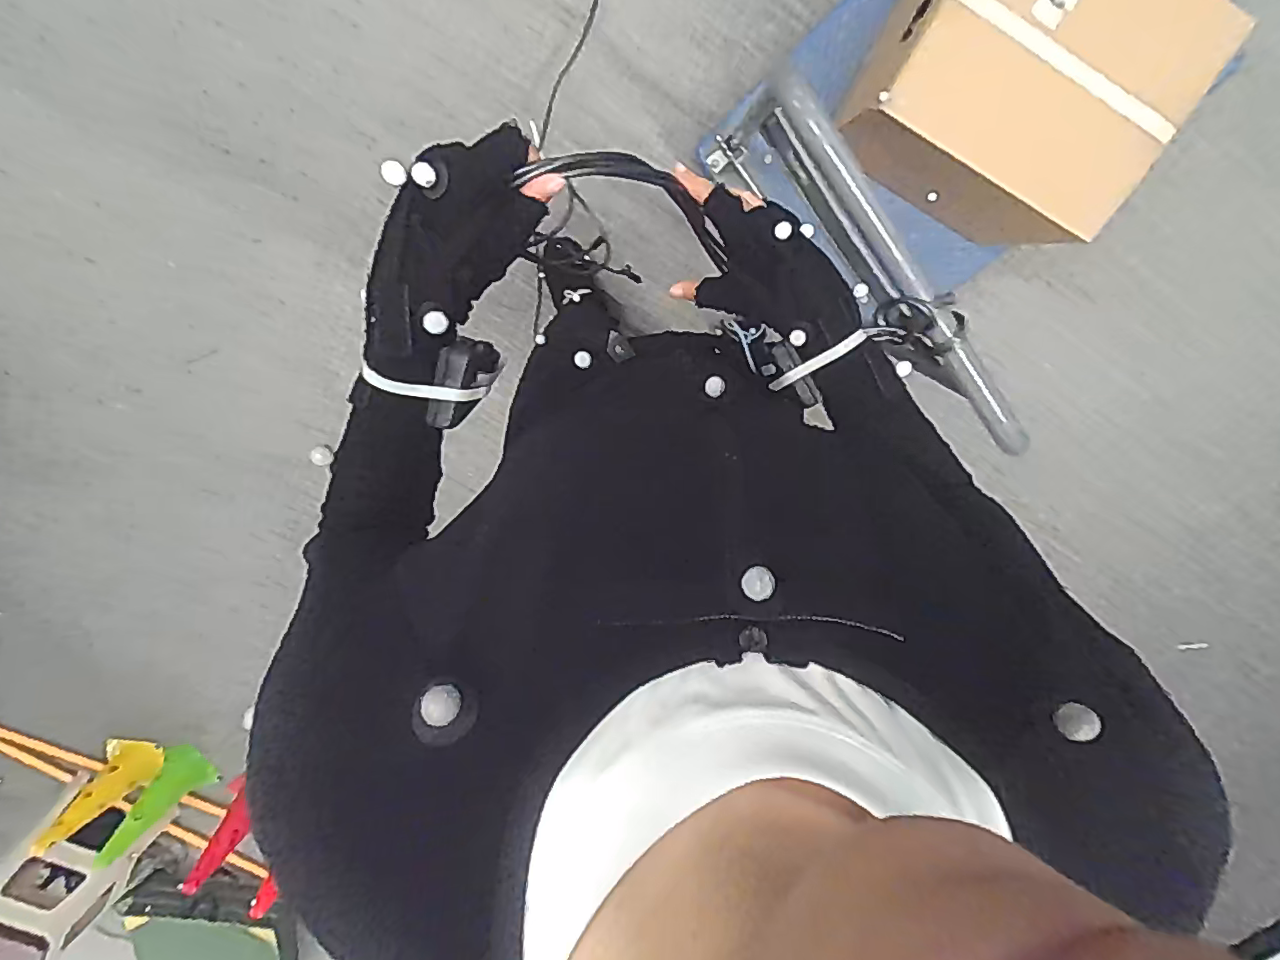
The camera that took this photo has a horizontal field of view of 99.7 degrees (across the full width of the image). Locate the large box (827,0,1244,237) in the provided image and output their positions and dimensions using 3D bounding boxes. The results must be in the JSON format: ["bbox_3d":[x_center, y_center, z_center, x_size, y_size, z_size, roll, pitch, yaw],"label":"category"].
[{"bbox_3d":[0.605,-0.649,0.915,0.408,0.320,0.320,25,111,-8],"label":"large box"}]
